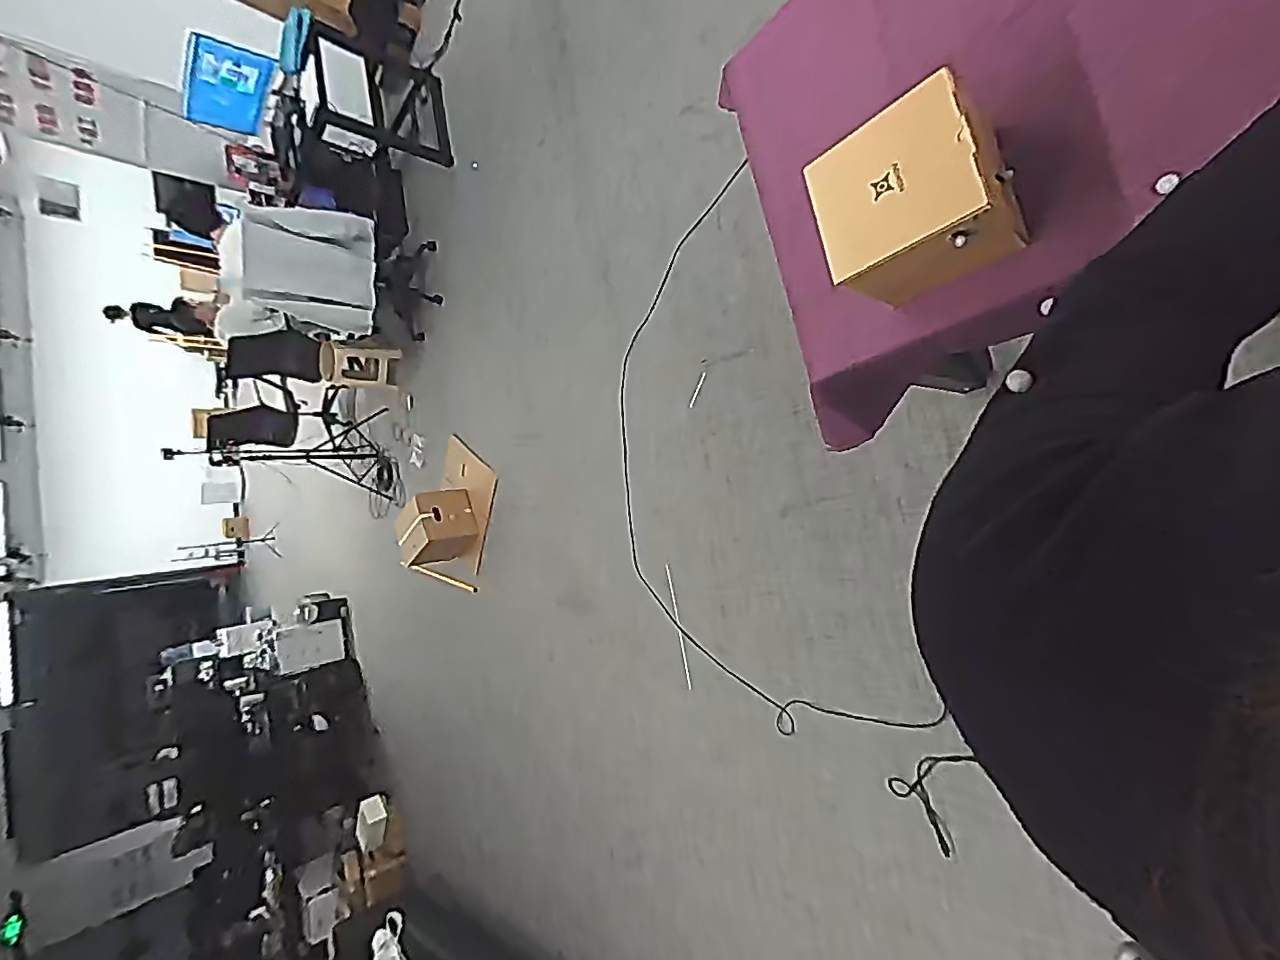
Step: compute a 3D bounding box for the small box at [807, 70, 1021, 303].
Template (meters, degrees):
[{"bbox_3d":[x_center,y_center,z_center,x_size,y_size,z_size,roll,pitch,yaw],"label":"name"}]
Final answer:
[{"bbox_3d":[0.344,-0.345,0.682,0.179,0.176,0.168,-20,79,44],"label":"small box"}]
